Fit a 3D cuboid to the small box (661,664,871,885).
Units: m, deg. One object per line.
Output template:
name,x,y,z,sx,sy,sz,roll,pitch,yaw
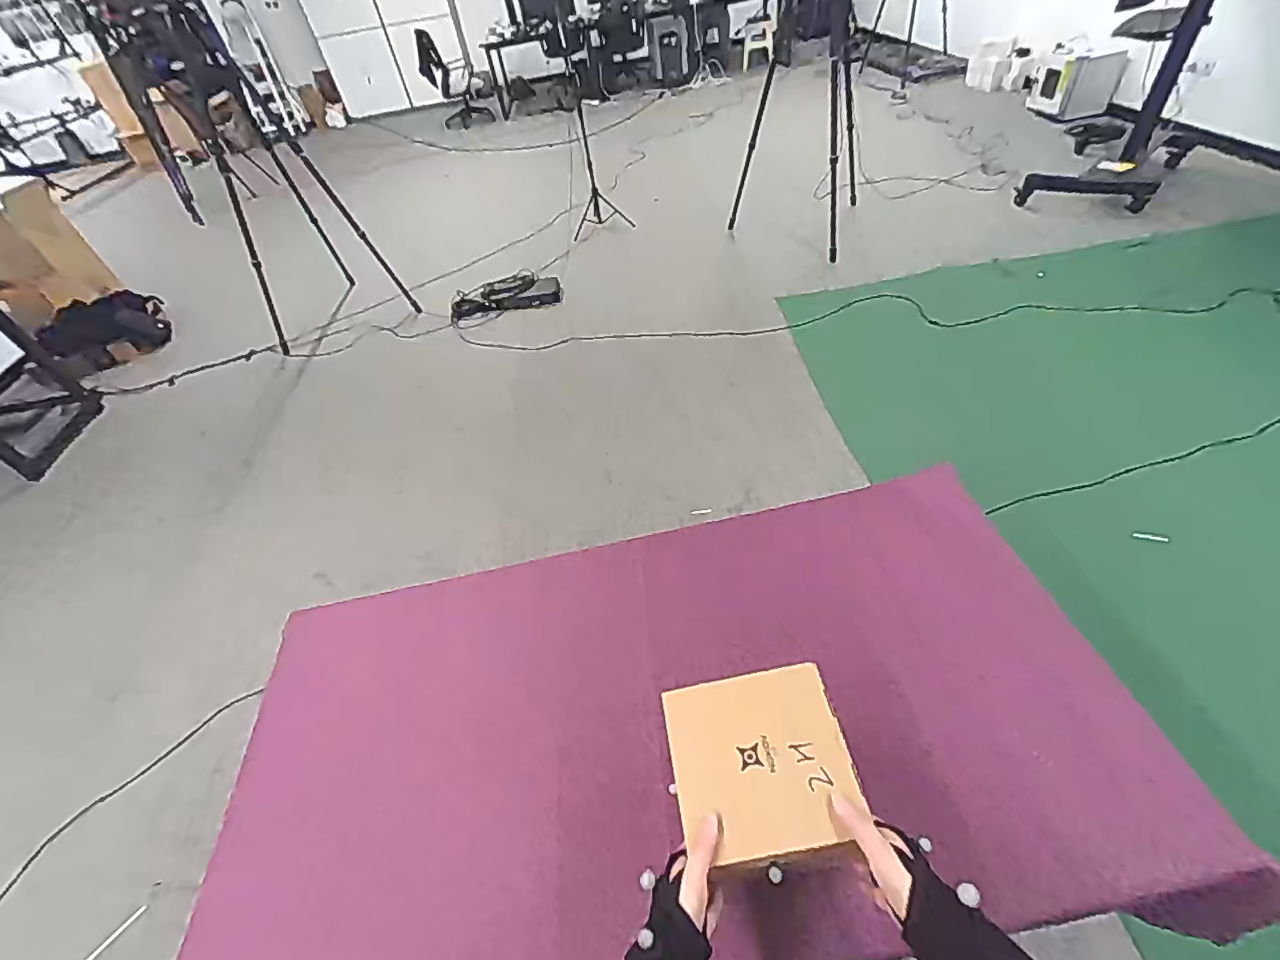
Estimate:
small box,0.132,0.331,0.600,0.179,0.176,0.168,-13,48,3
